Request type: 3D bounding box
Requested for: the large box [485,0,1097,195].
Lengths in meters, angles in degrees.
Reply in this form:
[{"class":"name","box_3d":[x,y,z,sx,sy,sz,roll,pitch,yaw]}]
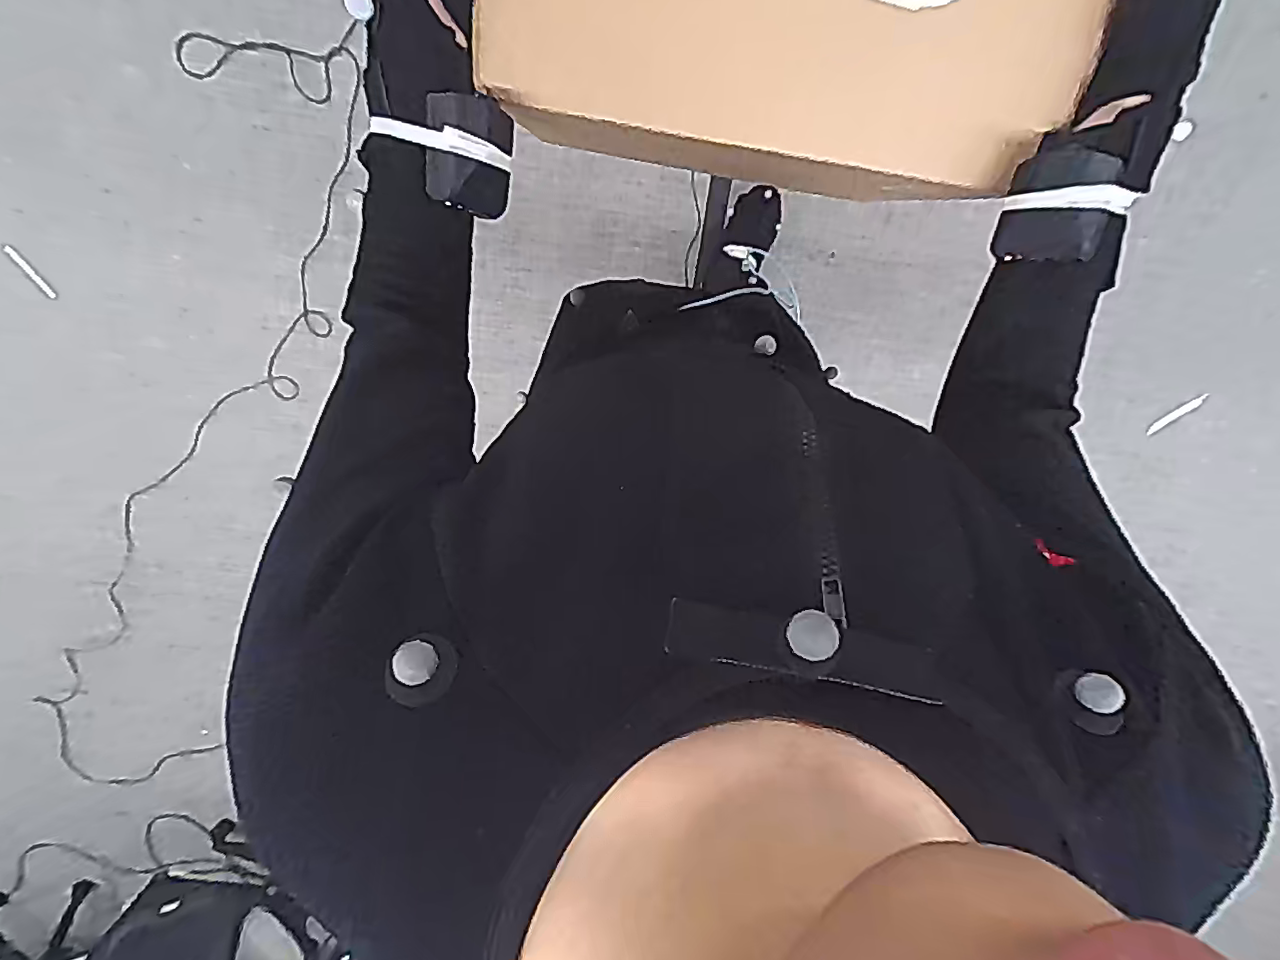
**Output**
[{"class":"large box","box_3d":[0.102,-0.439,0.451,0.408,0.320,0.320,6,118,-6]}]
